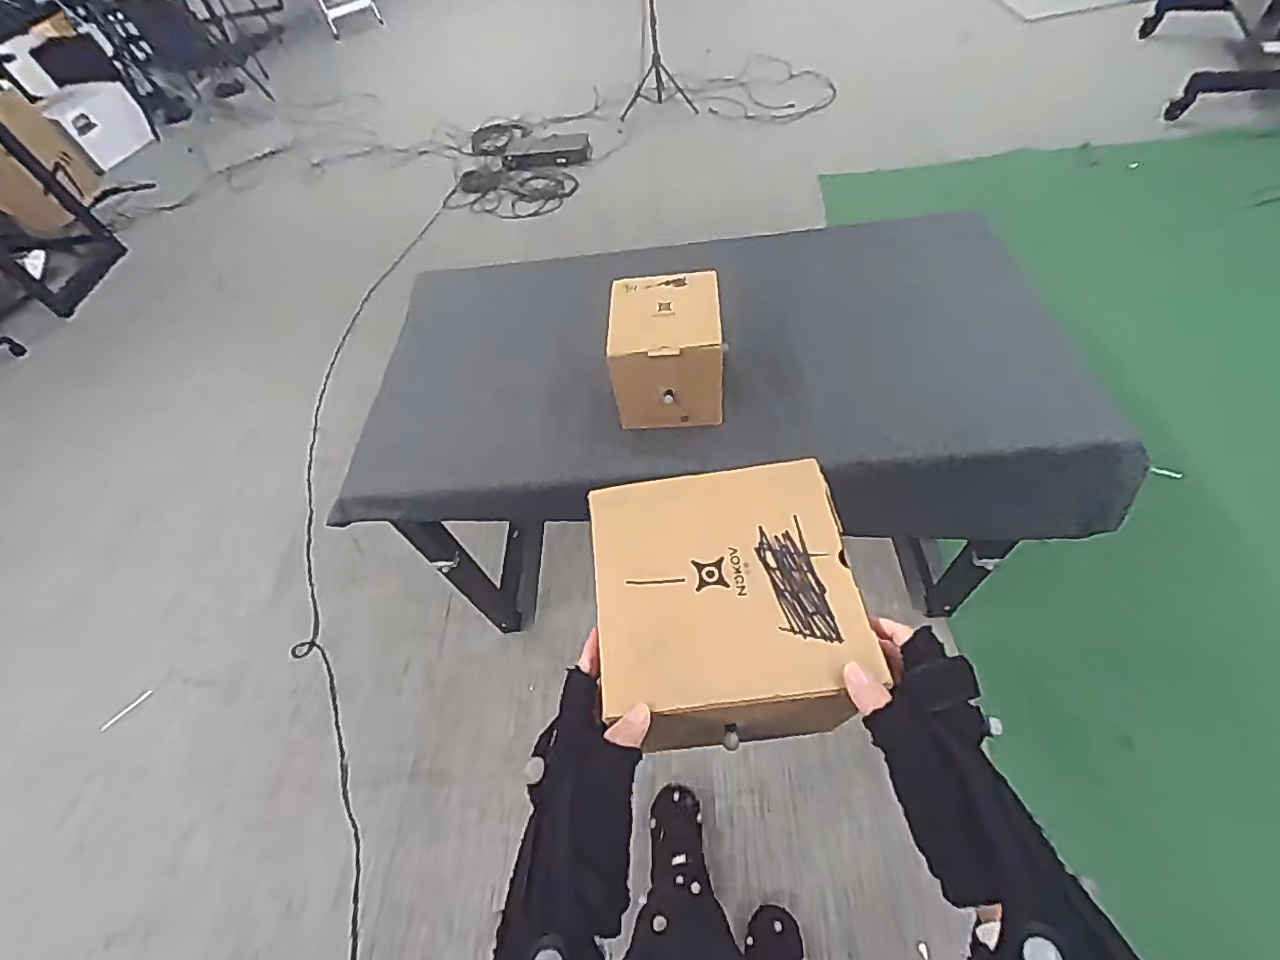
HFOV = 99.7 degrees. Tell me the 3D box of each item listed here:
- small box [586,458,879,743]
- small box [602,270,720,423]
[{"bbox_3d":[0.059,0.105,0.436,0.179,0.176,0.168,-9,57,2],"label":"small box"},{"bbox_3d":[0.040,-0.204,0.867,0.168,0.176,0.179,-4,56,7],"label":"small box"}]
